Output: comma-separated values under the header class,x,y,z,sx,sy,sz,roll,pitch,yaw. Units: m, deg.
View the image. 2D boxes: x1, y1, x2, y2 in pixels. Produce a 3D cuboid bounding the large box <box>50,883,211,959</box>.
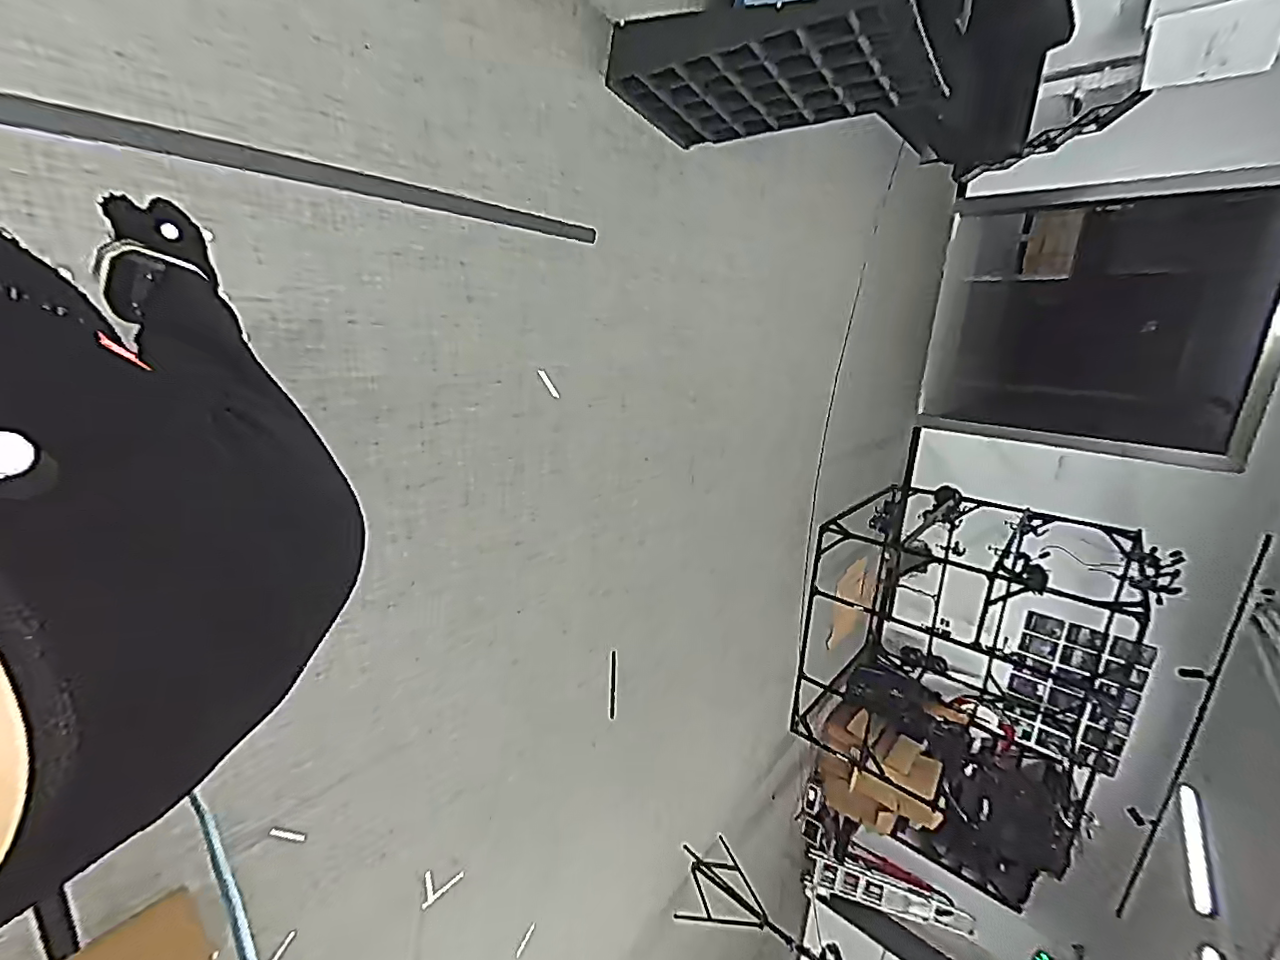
class,x,y,z,sx,sy,sz,roll,pitch,yaw
large box,-1.199,1.245,1.199,0.408,0.320,0.320,-19,117,-46
